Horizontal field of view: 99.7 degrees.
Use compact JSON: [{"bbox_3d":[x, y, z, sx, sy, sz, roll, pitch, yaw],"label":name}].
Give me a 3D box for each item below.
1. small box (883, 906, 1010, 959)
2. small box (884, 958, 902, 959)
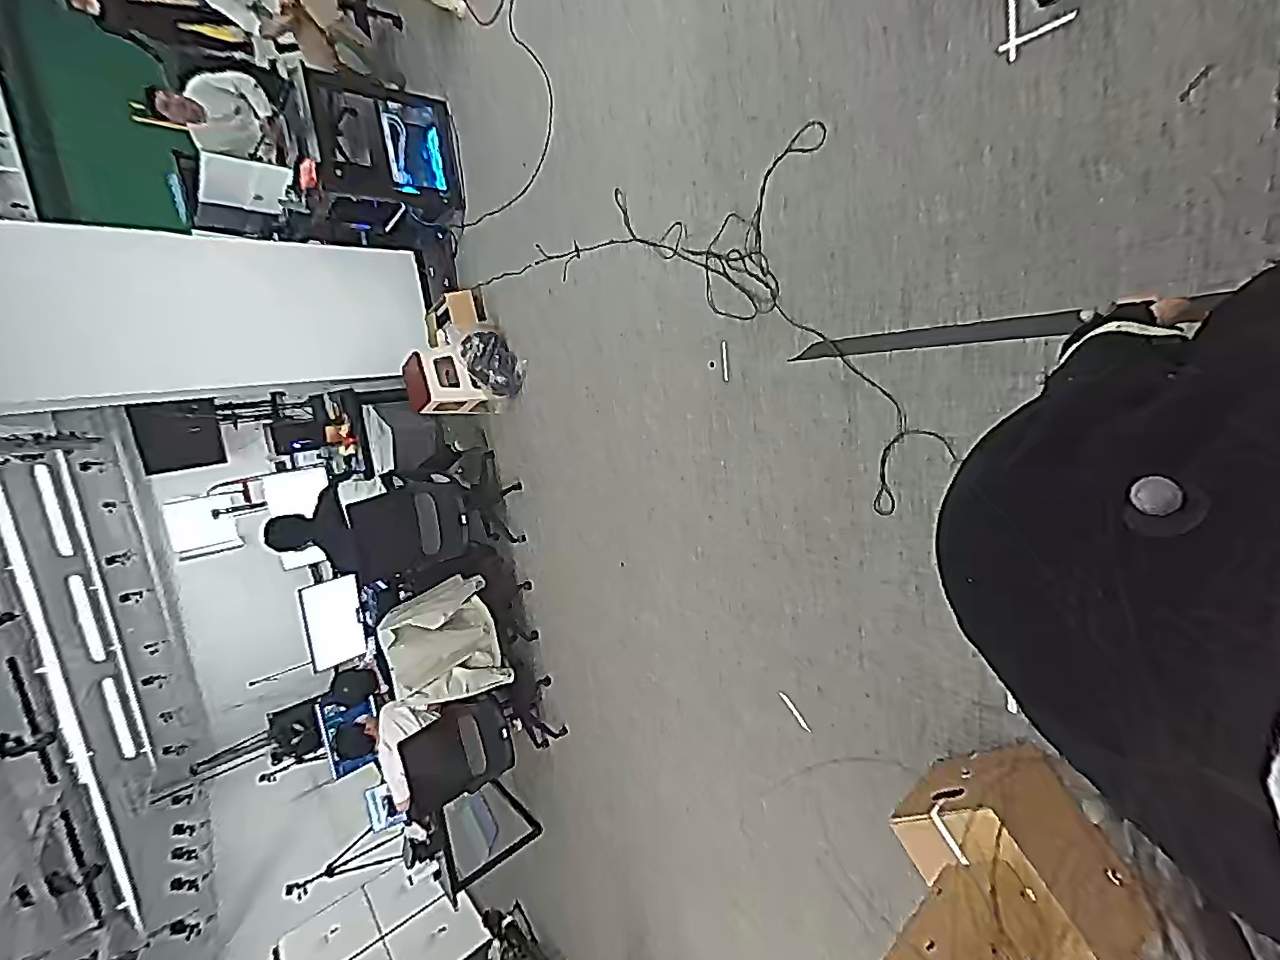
[{"bbox_3d":[0.653,1.022,1.117,0.168,0.176,0.179,59,139,20],"label":"small box"},{"bbox_3d":[0.528,1.053,1.018,0.168,0.176,0.179,59,140,19],"label":"small box"}]
